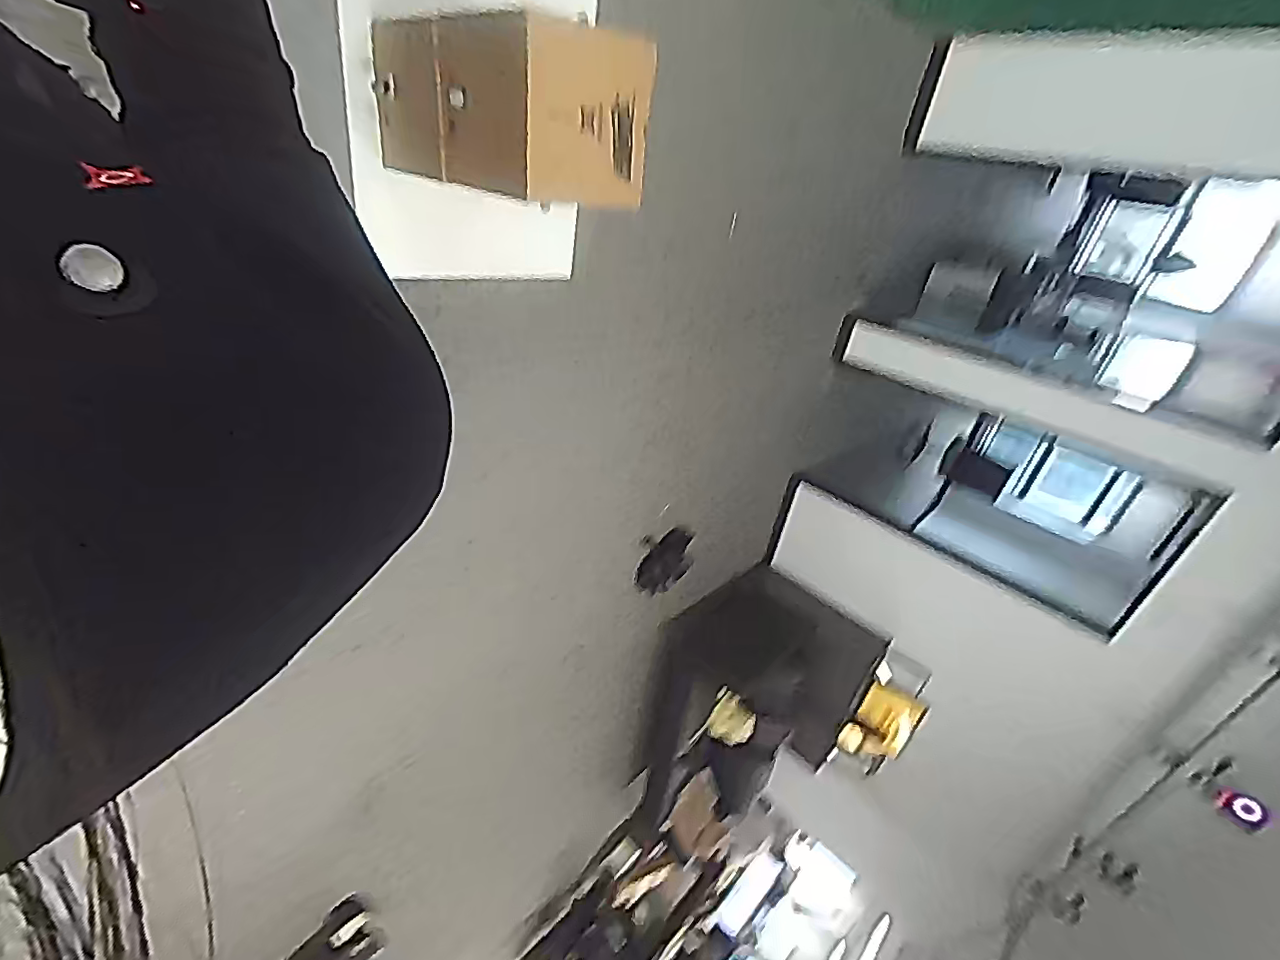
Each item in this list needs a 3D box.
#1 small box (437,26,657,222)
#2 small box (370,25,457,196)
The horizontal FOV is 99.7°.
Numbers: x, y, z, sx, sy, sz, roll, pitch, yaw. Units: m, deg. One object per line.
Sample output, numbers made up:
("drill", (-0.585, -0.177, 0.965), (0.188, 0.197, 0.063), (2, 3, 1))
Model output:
("small box", (-0.106, -0.405, 0.625), (0.179, 0.176, 0.168), (-27, 136, -40))
("small box", (-0.226, -0.474, 0.713), (0.179, 0.176, 0.168), (-22, 131, -40))
